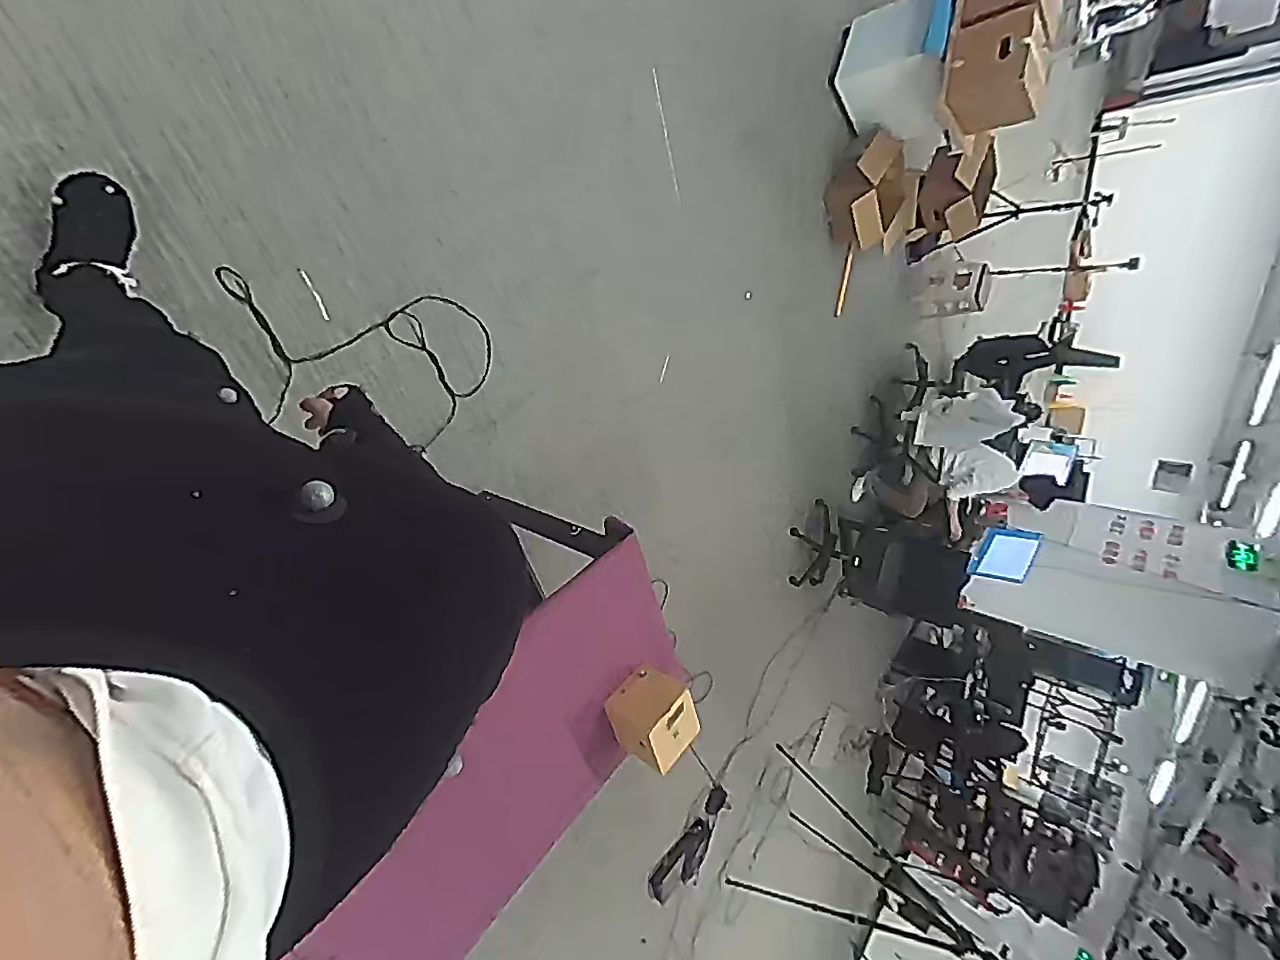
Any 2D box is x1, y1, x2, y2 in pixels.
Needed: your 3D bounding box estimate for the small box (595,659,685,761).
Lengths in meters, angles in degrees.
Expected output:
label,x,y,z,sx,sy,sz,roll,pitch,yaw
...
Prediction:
label,x,y,z,sx,sy,sz,roll,pitch,yaw
small box,-0.002,0.622,1.493,0.168,0.176,0.179,-37,127,-34
